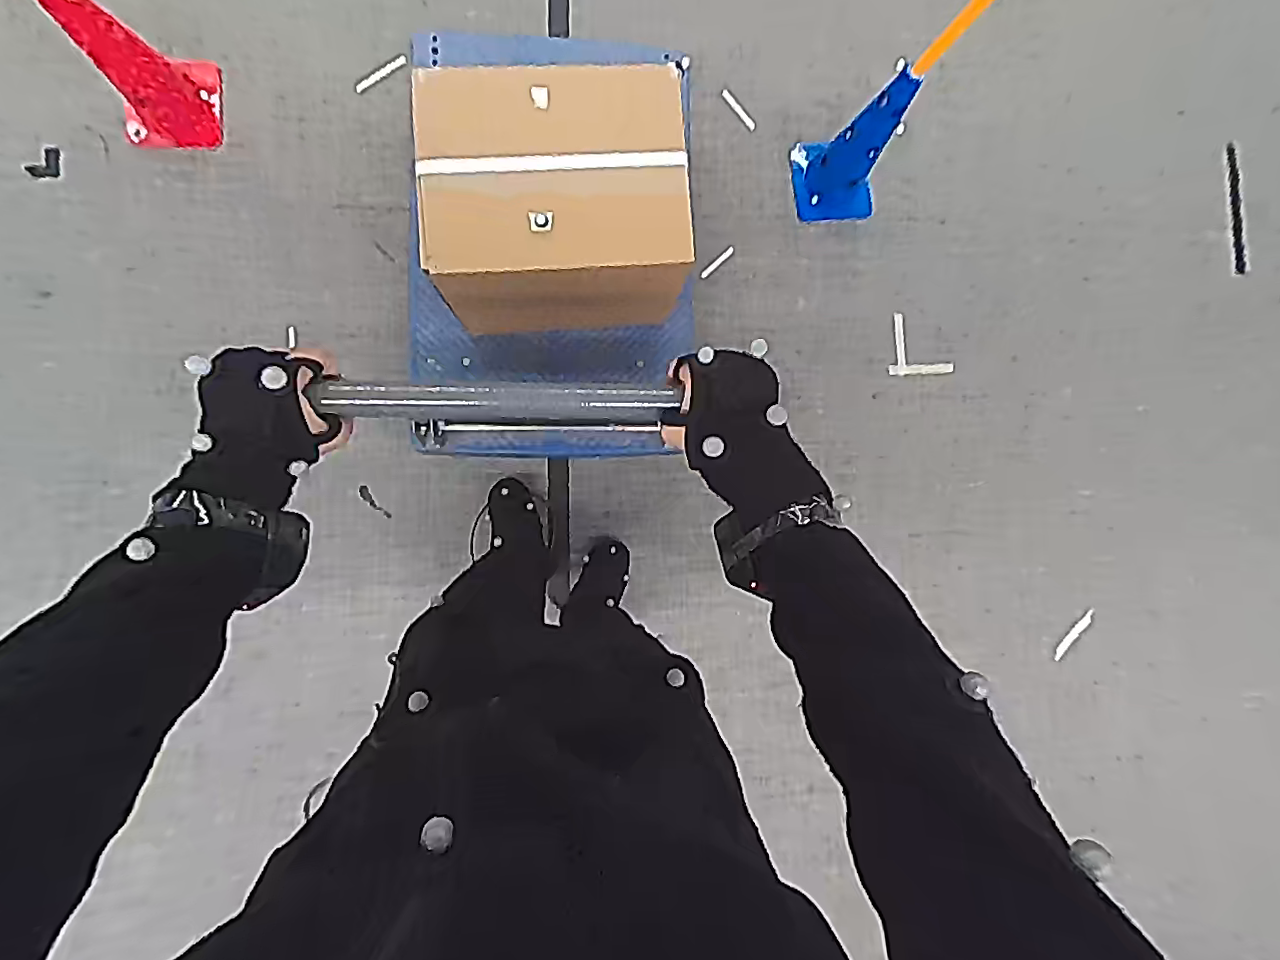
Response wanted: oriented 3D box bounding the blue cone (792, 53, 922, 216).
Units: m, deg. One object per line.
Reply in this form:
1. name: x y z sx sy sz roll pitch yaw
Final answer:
1. blue cone: 0.501 -0.770 1.204 0.193 0.380 0.192 -5 88 -6
